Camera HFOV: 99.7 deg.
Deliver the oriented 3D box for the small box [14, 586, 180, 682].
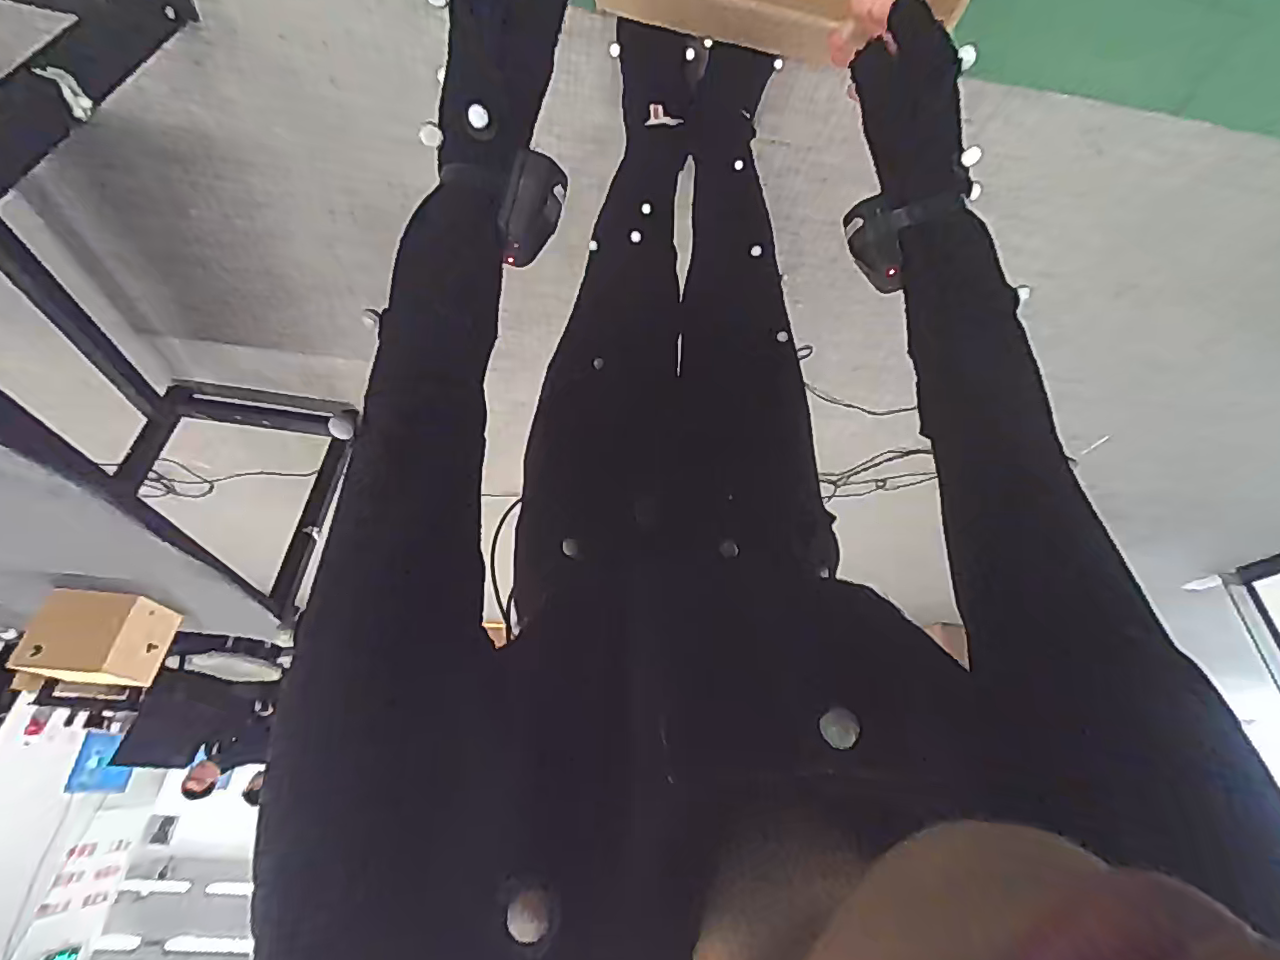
[{"bbox_3d":[-1.169,0.340,1.190,0.179,0.176,0.168,7,150,-5],"label":"small box"}]
